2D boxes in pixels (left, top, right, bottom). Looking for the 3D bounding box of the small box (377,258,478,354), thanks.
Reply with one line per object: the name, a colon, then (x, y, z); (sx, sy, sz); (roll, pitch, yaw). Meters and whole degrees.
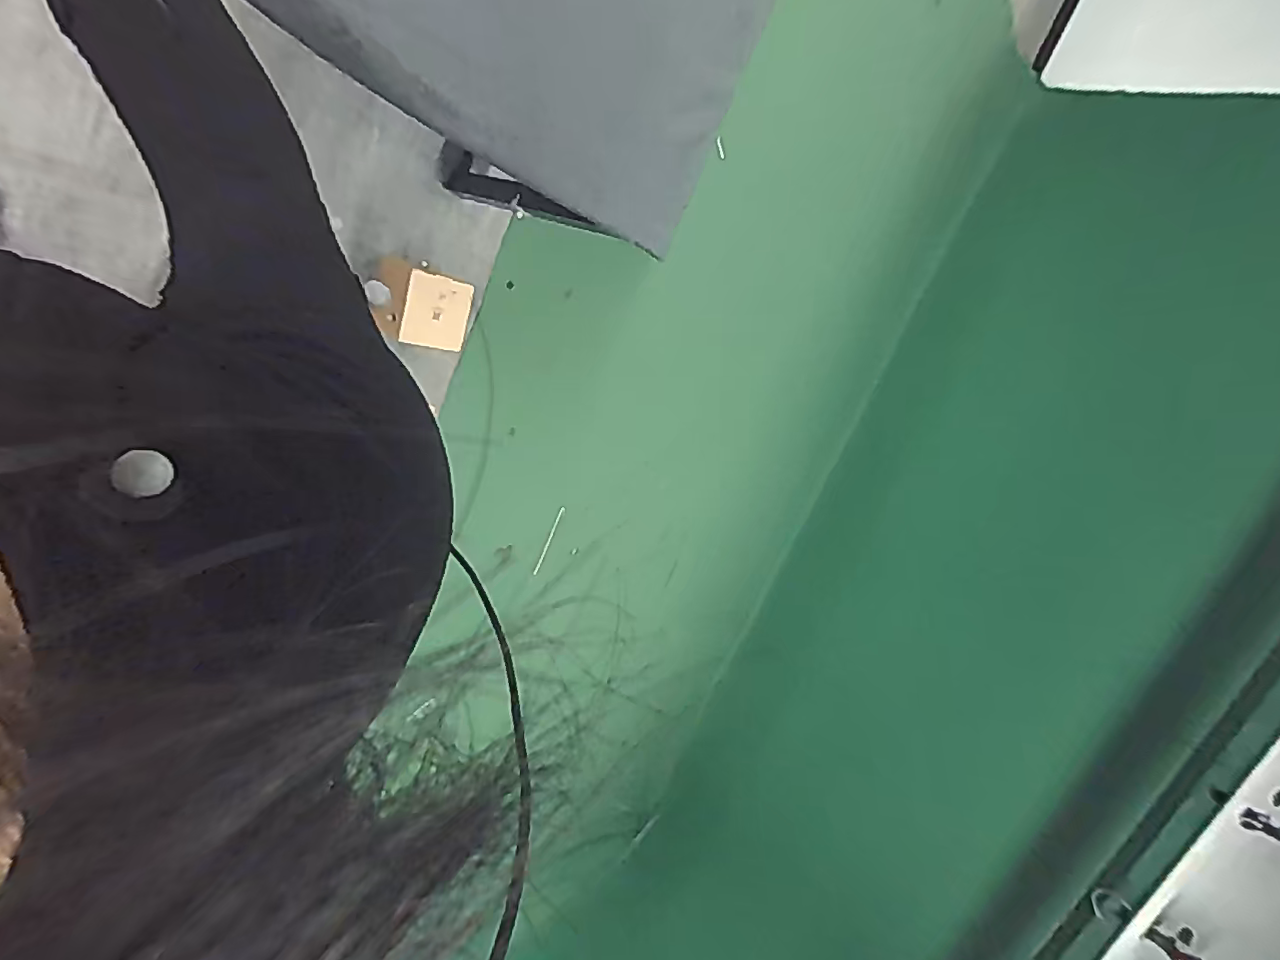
small box: (-0.542, -0.439, 1.367); (0.168, 0.176, 0.179); (-1, 117, -49)
